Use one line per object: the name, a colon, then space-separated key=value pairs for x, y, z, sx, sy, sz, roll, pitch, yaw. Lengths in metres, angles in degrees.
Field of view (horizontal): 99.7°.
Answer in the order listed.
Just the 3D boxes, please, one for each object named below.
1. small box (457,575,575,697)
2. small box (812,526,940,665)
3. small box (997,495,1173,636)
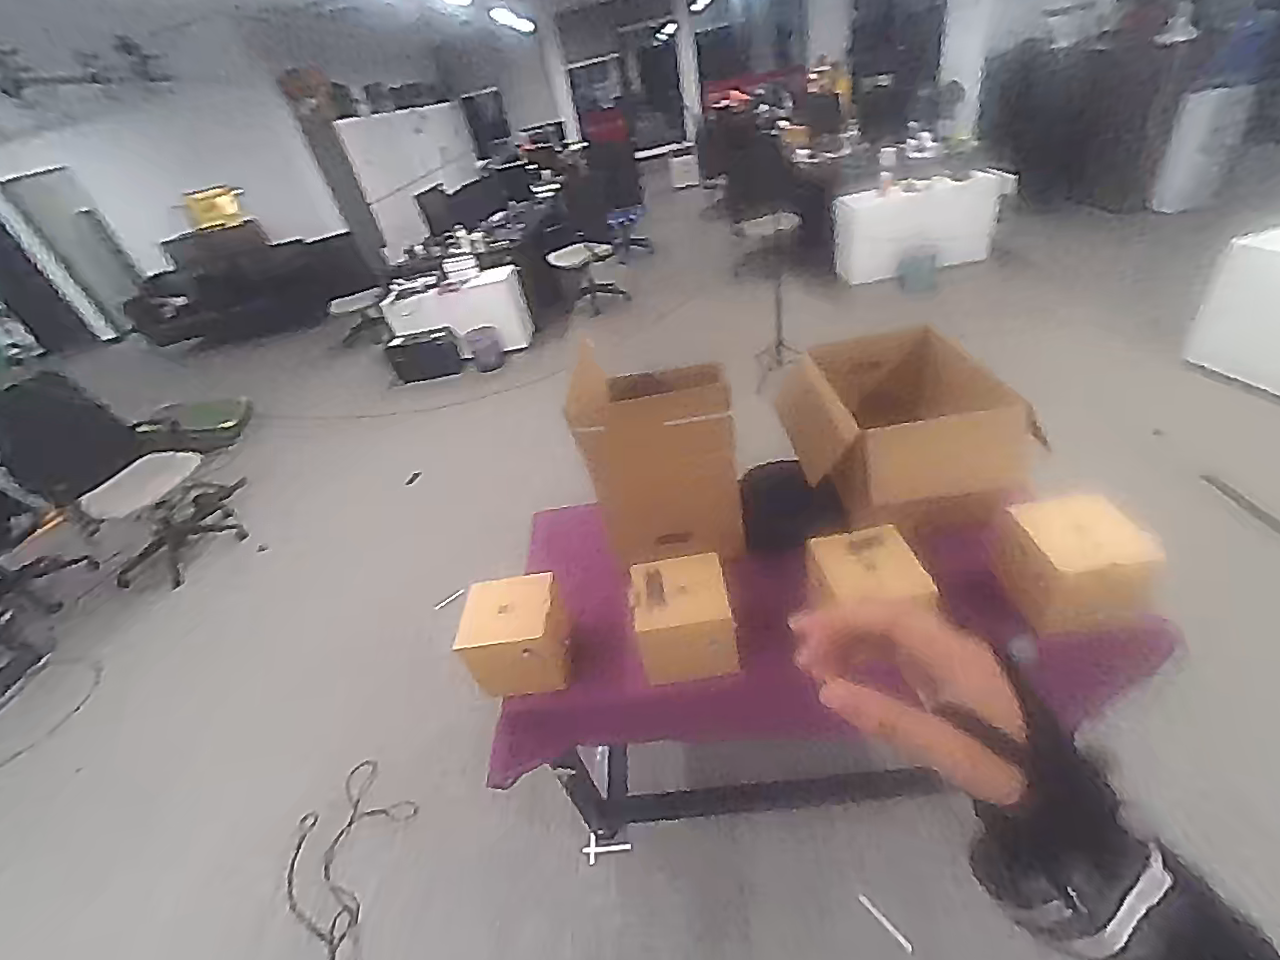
small box: x=-0.241 y=0.320 z=1.099 sx=0.179 sy=0.176 sz=0.168 roll=-9 pitch=36 yaw=5
small box: x=0.429 y=0.217 z=1.016 sx=0.168 sy=0.176 sz=0.179 roll=-12 pitch=37 yaw=3
small box: x=0.782 y=0.155 z=0.979 sx=0.168 sy=0.176 sz=0.179 roll=-10 pitch=36 yaw=8
